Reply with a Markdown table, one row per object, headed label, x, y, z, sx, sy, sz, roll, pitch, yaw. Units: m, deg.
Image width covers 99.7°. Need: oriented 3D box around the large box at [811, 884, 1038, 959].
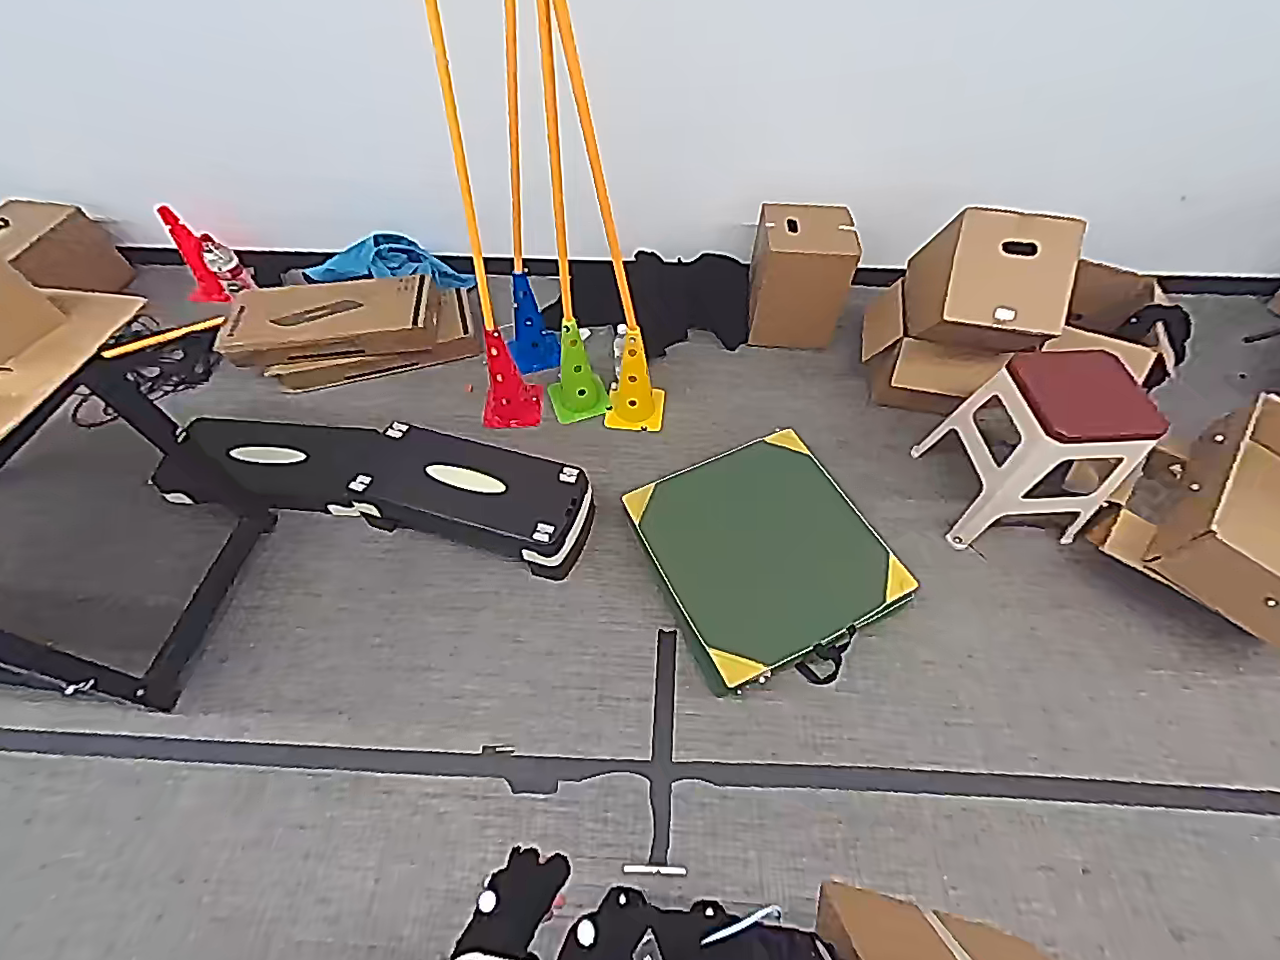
| label | x | y | z | sx | sy | sz | roll | pitch | yaw |
| --- | --- | --- | --- | --- | --- | --- | --- | --- | --- |
| large box | 0.382 | 0.767 | 0.621 | 0.320 | 0.408 | 0.320 | 10 | 75 | 10 |
